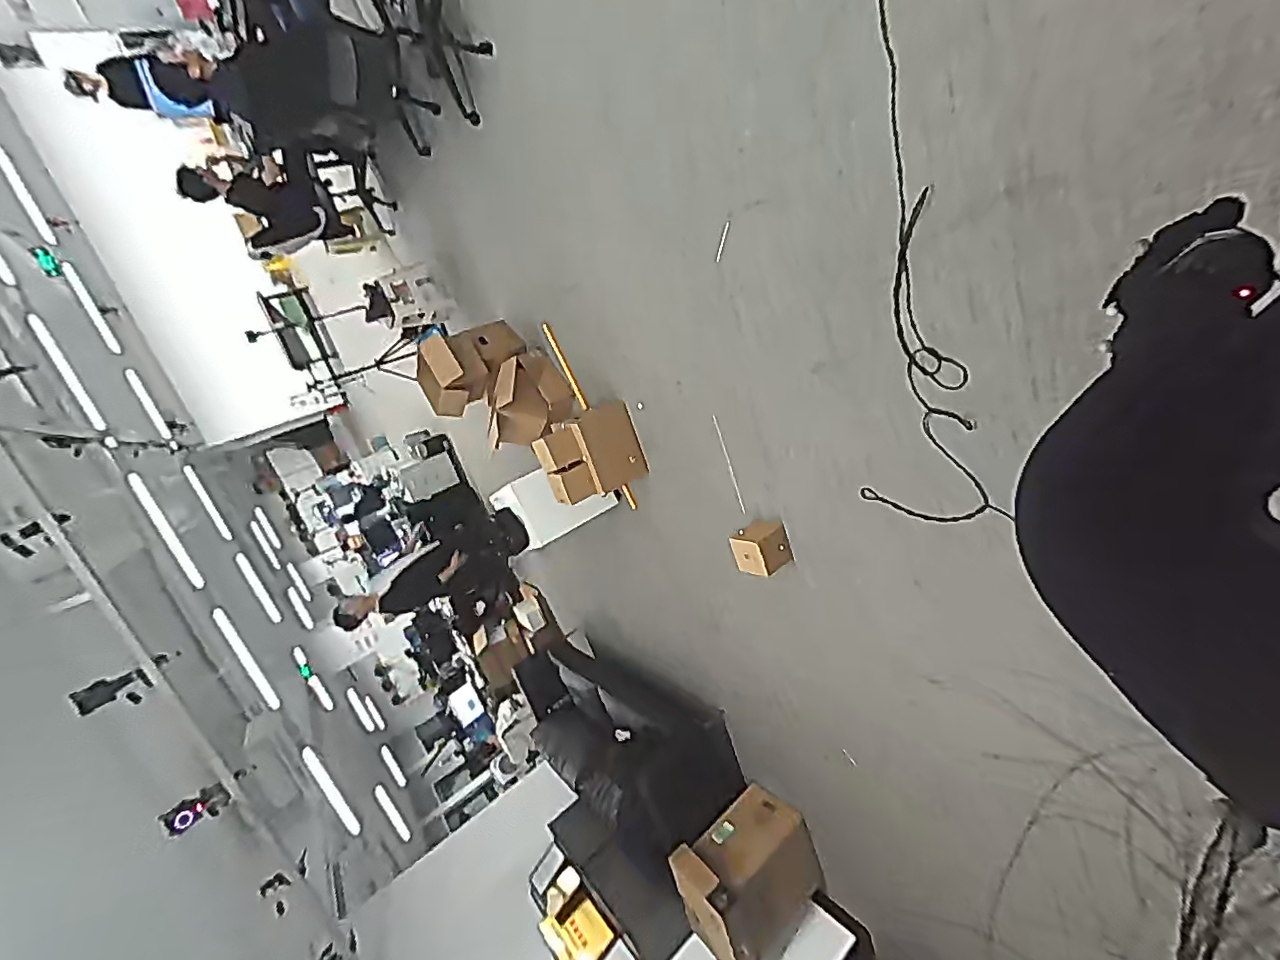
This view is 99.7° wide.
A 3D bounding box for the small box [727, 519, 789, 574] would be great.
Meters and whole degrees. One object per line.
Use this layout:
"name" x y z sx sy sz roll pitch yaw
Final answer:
"small box" 0.509 0.279 2.327 0.179 0.176 0.168 3 118 56
